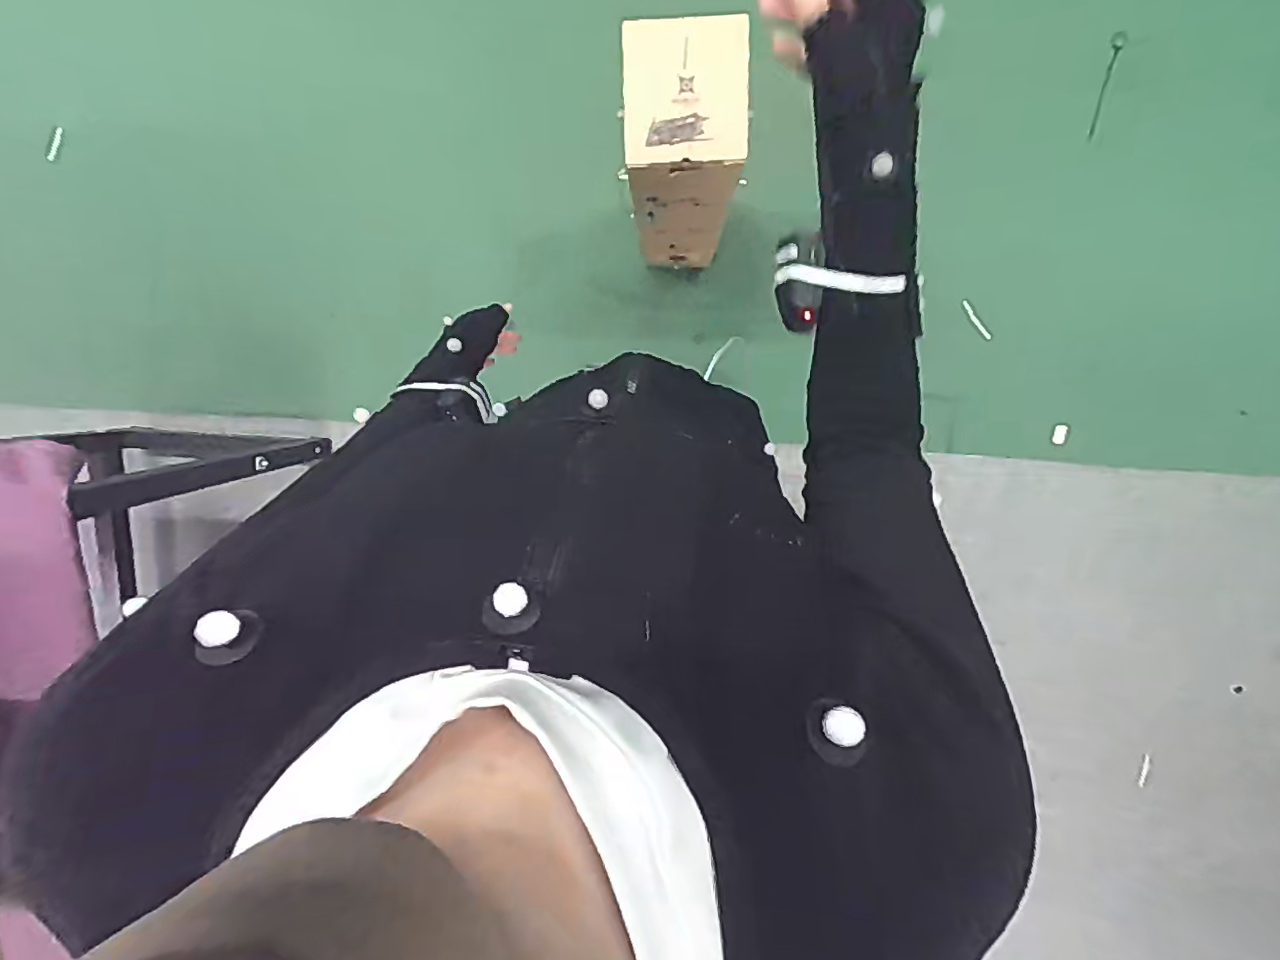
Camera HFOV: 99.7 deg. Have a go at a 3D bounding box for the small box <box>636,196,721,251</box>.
[{"bbox_3d":[0.075,-0.583,1.111,0.168,0.176,0.179,0,102,2],"label":"small box"}]

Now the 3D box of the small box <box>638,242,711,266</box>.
[{"bbox_3d":[0.083,-0.614,1.270,0.168,0.176,0.179,2,101,2],"label":"small box"}]

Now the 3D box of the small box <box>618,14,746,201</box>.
[{"bbox_3d":[0.061,-0.522,0.788,0.168,0.176,0.179,-4,102,3],"label":"small box"}]
